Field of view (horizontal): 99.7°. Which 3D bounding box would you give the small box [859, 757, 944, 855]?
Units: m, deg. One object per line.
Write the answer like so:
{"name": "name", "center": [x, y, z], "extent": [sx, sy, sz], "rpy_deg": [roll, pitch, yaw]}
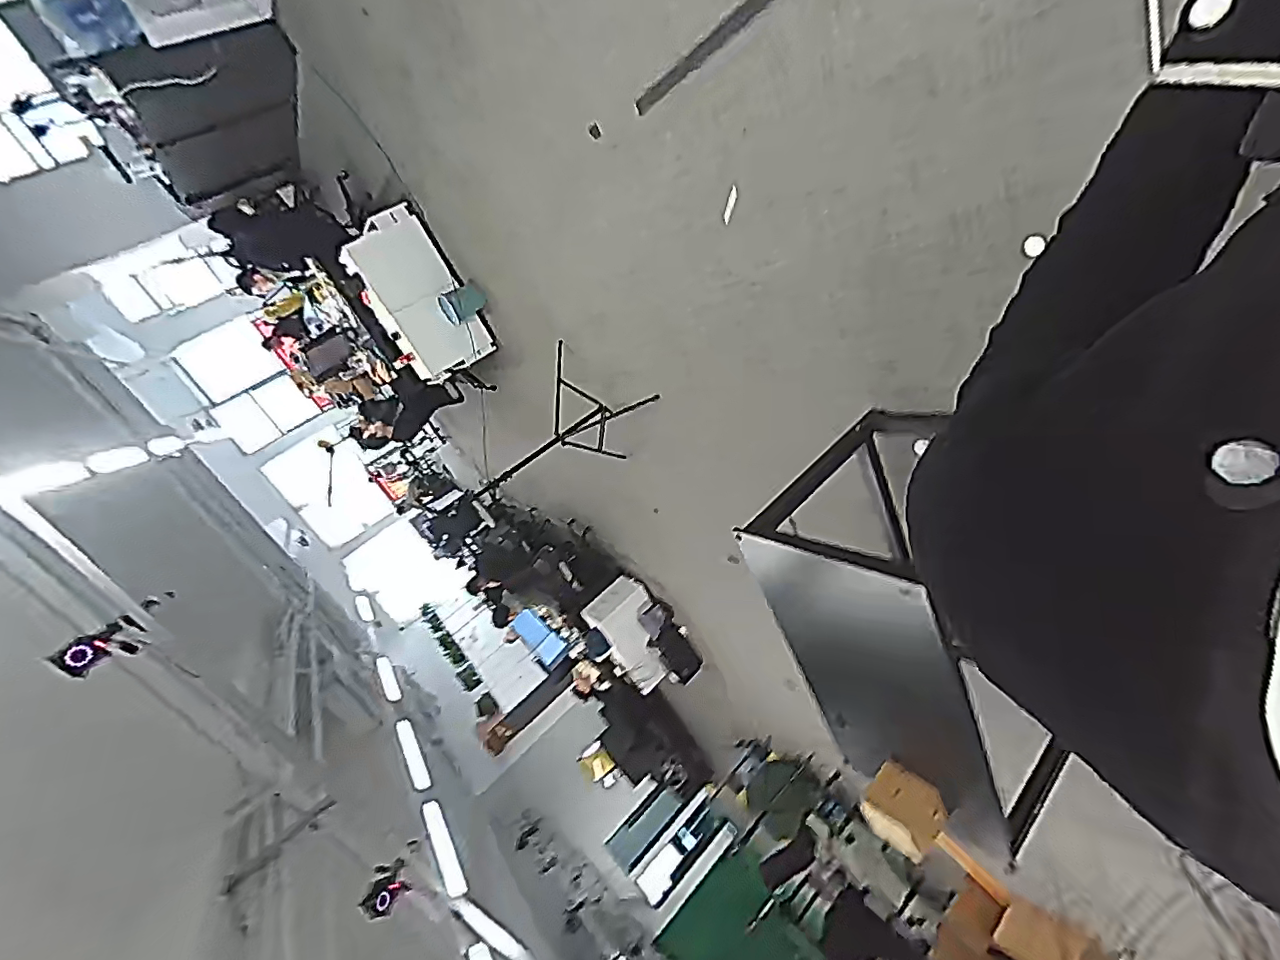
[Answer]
{"name": "small box", "center": [0.847, 1.043, 1.747], "extent": [0.168, 0.176, 0.179], "rpy_deg": [10, 134, 58]}
